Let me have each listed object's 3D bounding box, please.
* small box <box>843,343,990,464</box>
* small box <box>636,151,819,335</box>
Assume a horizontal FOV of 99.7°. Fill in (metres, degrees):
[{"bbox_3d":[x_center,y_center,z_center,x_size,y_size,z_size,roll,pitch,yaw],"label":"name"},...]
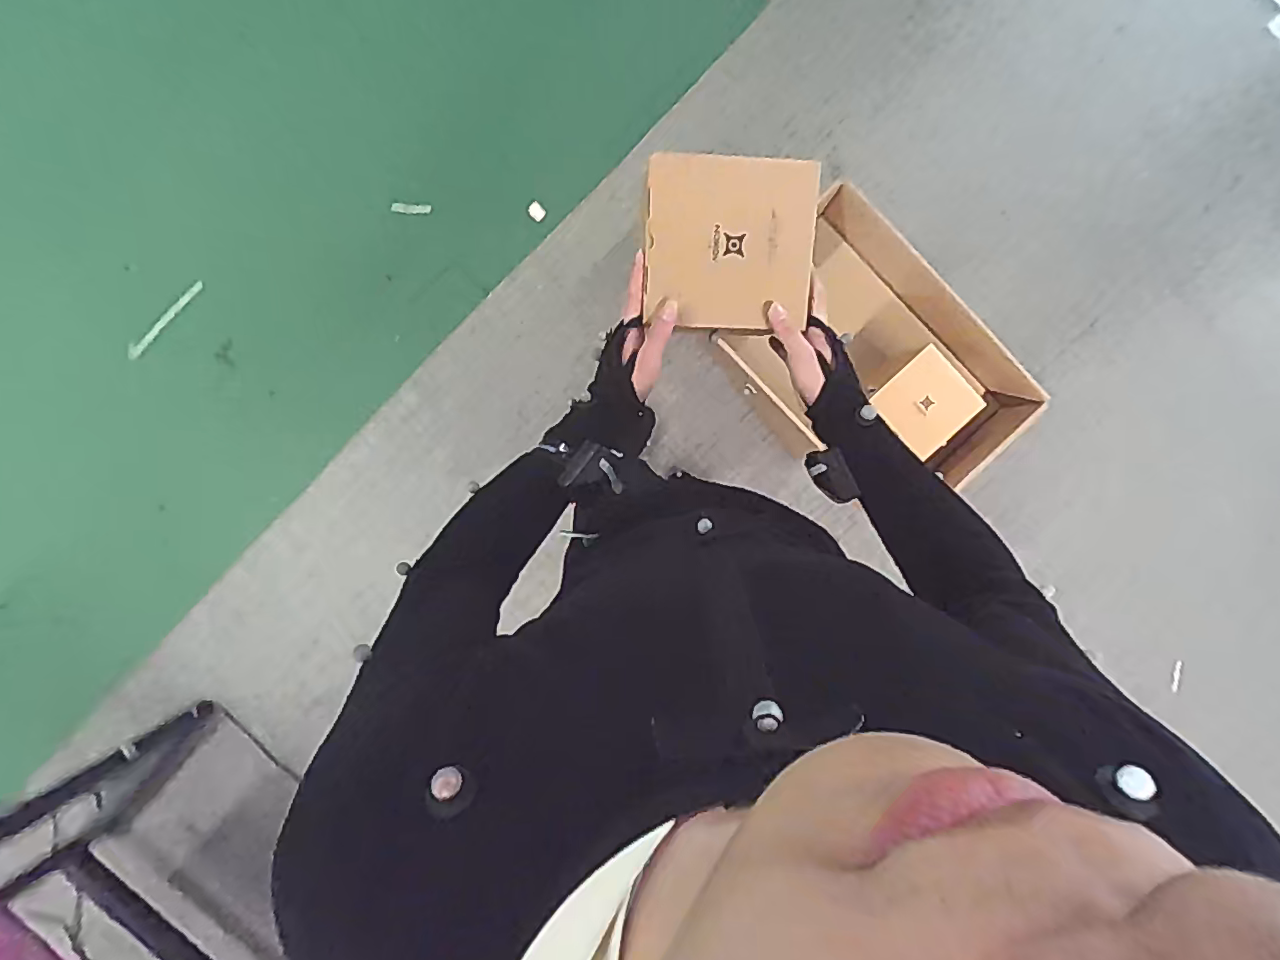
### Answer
[{"bbox_3d":[0.555,-0.153,1.113,0.179,0.176,0.168,-43,92,4],"label":"small box"},{"bbox_3d":[0.086,-0.259,0.627,0.179,0.176,0.168,1,103,-4],"label":"small box"}]
